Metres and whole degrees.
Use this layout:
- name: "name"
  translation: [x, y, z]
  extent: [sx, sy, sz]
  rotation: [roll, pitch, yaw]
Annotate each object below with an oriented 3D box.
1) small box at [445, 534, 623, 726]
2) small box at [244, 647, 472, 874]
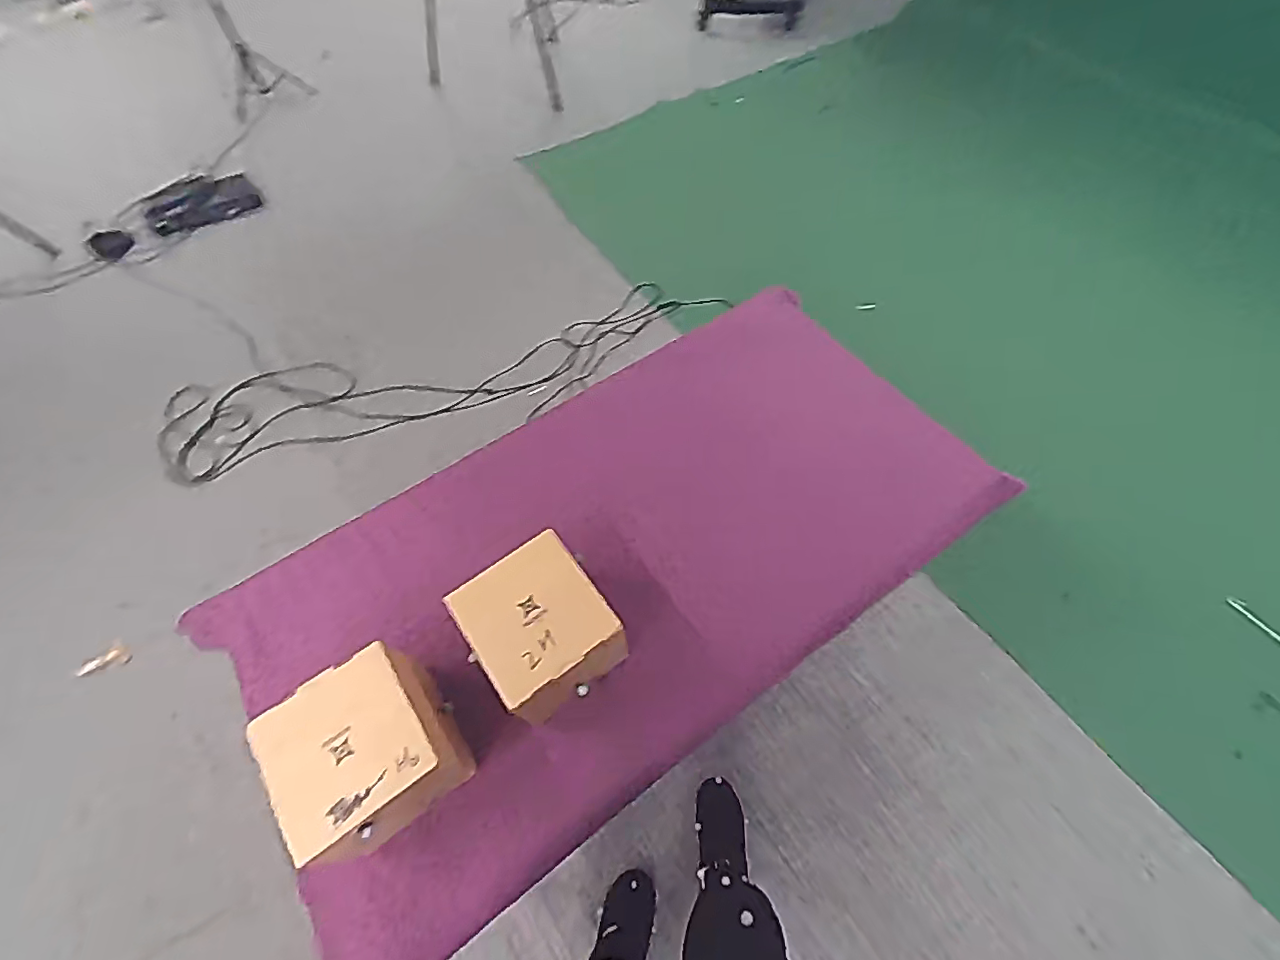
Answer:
- name: "small box"
  translation: [-0.138, 0.214, 0.752]
  extent: [0.168, 0.176, 0.179]
  rotation: [-33, 65, -17]
- name: "small box"
  translation: [-0.338, 0.345, 0.675]
  extent: [0.168, 0.176, 0.179]
  rotation: [-33, 63, -16]
